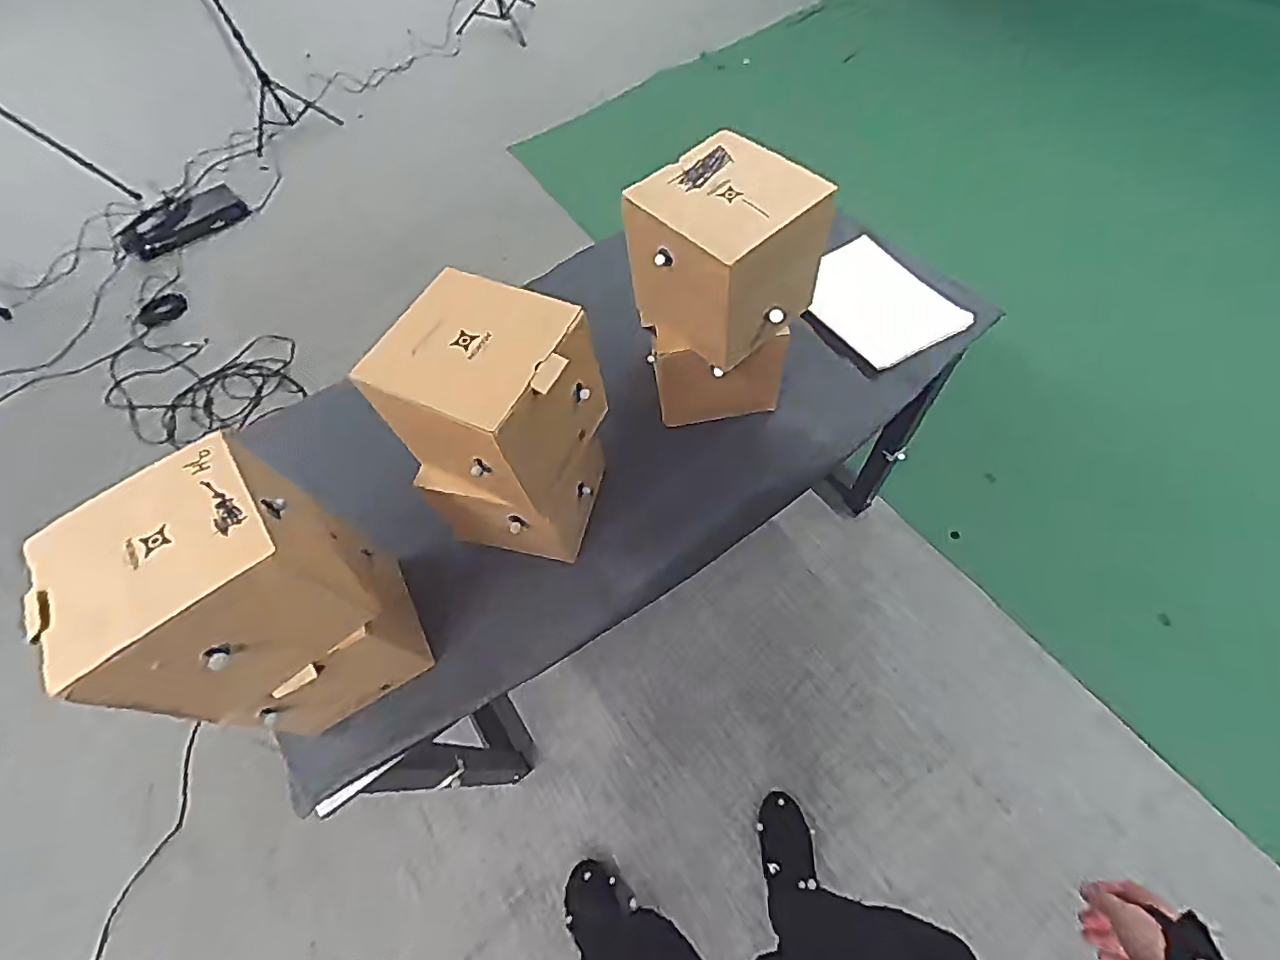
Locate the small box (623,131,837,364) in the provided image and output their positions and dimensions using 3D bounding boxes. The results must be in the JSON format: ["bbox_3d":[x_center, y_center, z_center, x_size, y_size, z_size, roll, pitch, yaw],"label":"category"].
[{"bbox_3d":[0.102,-0.276,0.660,0.168,0.176,0.179,-39,64,-13],"label":"small box"}]

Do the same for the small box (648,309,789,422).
[{"bbox_3d":[0.108,-0.207,0.810,0.179,0.176,0.168,-9,61,3],"label":"small box"}]

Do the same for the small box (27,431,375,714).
[{"bbox_3d":[-0.396,0.095,0.511,0.179,0.176,0.168,-37,63,-14],"label":"small box"}]

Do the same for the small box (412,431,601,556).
[{"bbox_3d":[-0.162,-0.010,0.731,0.179,0.176,0.168,10,62,11],"label":"small box"}]

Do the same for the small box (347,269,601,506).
[{"bbox_3d":[-0.160,-0.092,0.590,0.179,0.176,0.168,21,64,17],"label":"small box"}]
